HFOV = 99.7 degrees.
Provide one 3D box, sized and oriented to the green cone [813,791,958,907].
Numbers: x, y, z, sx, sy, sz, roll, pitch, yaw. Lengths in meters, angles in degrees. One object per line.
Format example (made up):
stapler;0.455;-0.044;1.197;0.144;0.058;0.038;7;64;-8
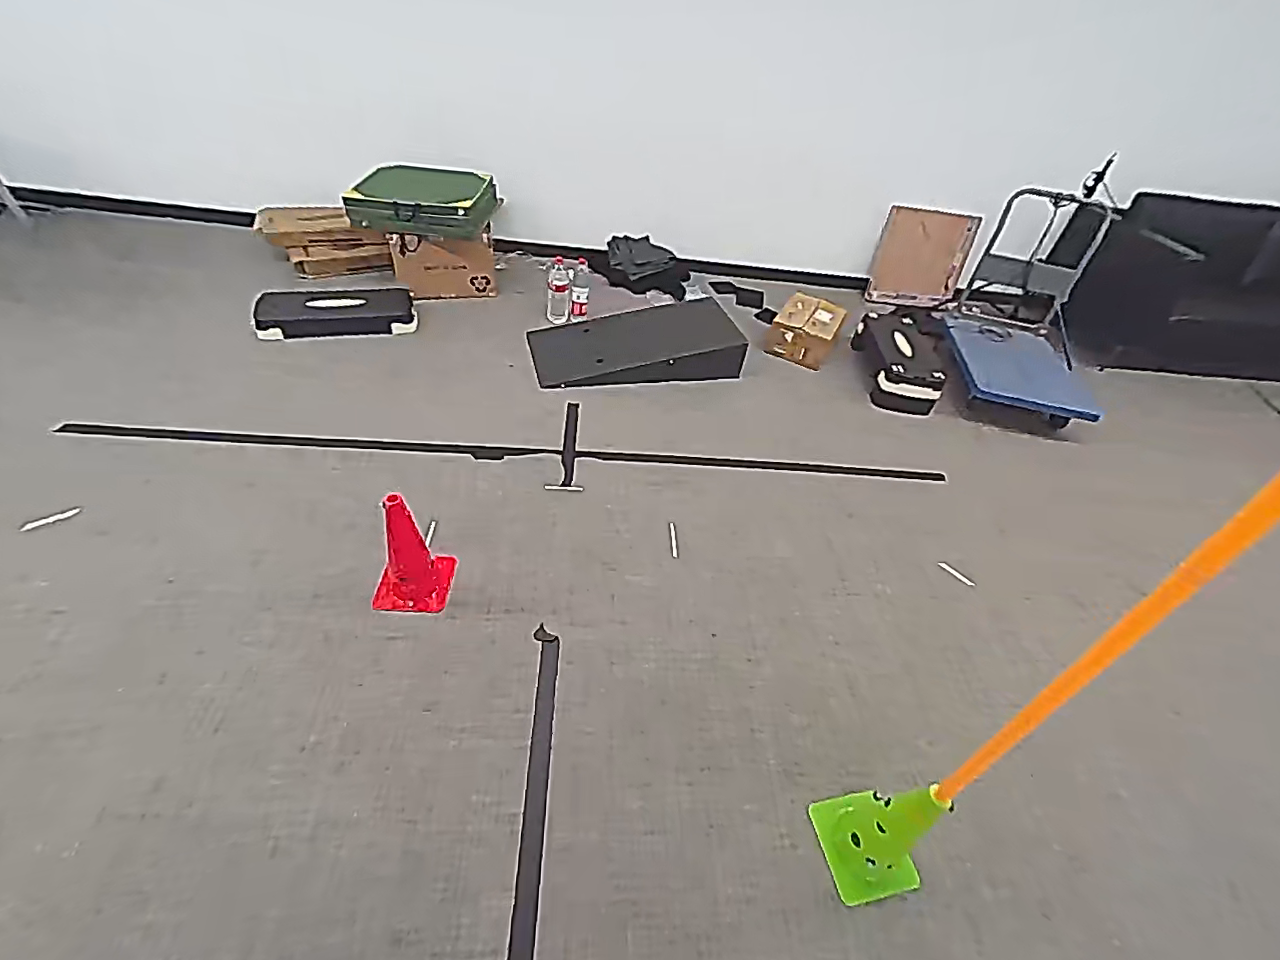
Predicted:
green cone;0.537;0.715;1.116;0.200;0.368;0.202;-4;46;-14
